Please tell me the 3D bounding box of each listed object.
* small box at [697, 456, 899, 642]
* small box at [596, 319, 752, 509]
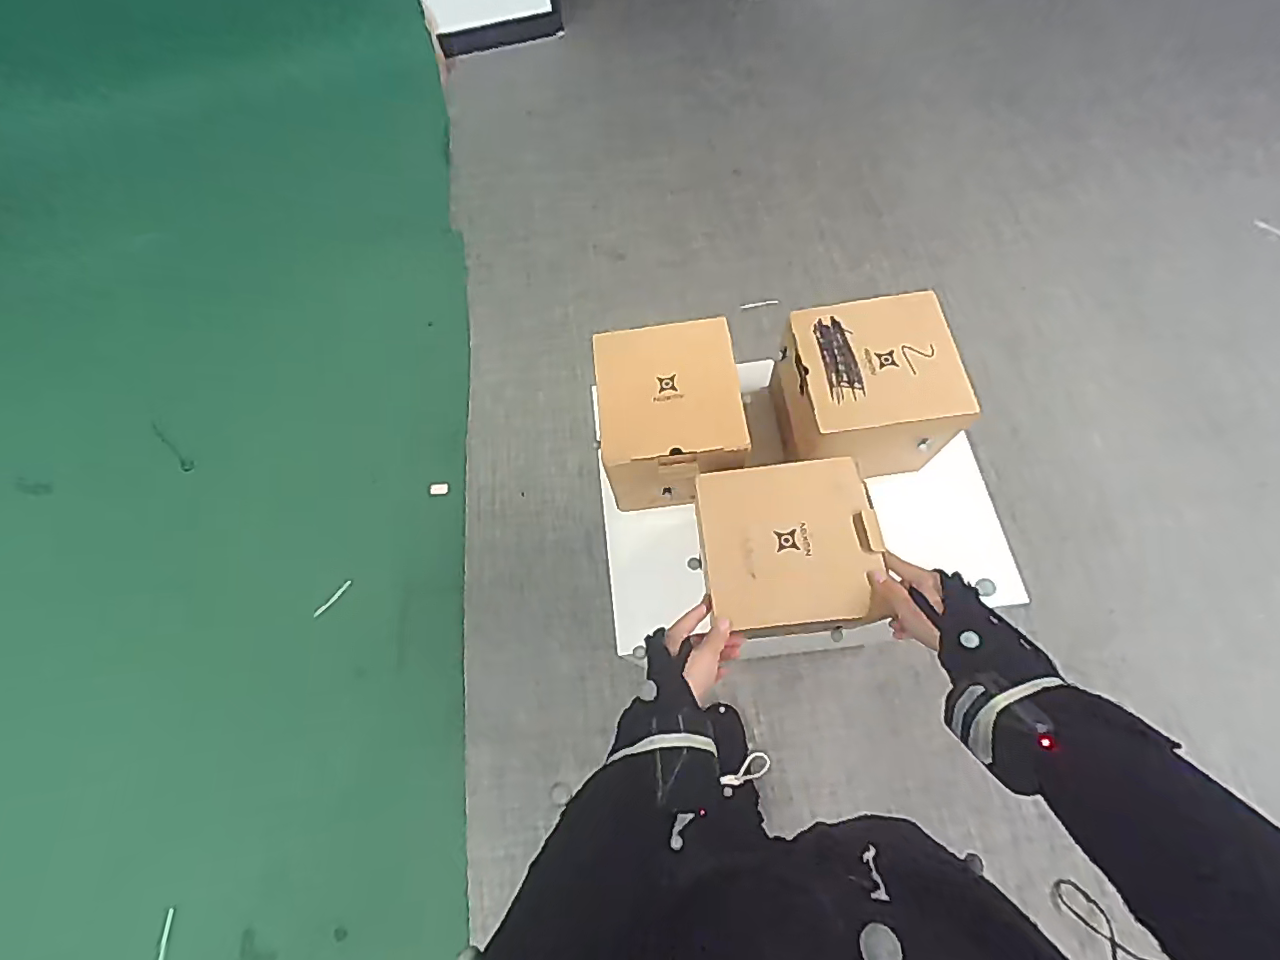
[{"bbox_3d":[0.160,0.087,0.614,0.179,0.176,0.168,-8,69,4],"label":"small box"},{"bbox_3d":[0.039,-0.077,0.696,0.168,0.176,0.179,-7,69,2],"label":"small box"}]
